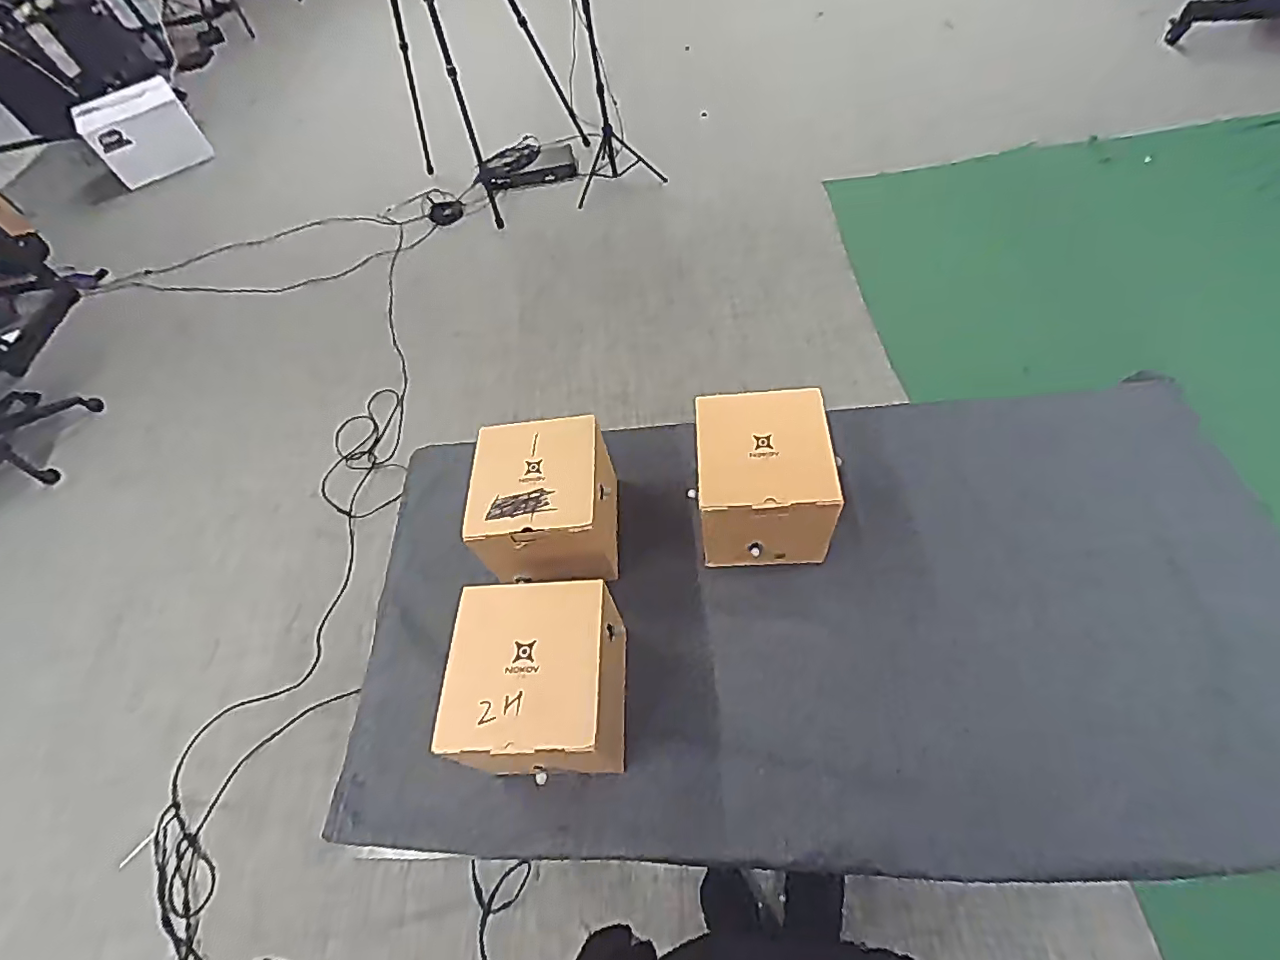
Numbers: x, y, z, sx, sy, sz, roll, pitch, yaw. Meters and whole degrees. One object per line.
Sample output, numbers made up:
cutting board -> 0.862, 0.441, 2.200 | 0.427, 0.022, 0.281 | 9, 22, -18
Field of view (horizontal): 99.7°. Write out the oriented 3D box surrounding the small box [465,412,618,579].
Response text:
small box -> -0.125, 0.031, 0.761 | 0.168, 0.176, 0.179 | -6, 57, 5

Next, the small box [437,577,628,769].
small box -> -0.108, 0.229, 0.632 | 0.168, 0.176, 0.179 | -4, 56, 6

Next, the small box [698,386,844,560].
small box -> 0.166, -0.005, 0.740 | 0.168, 0.176, 0.179 | -4, 58, 7
